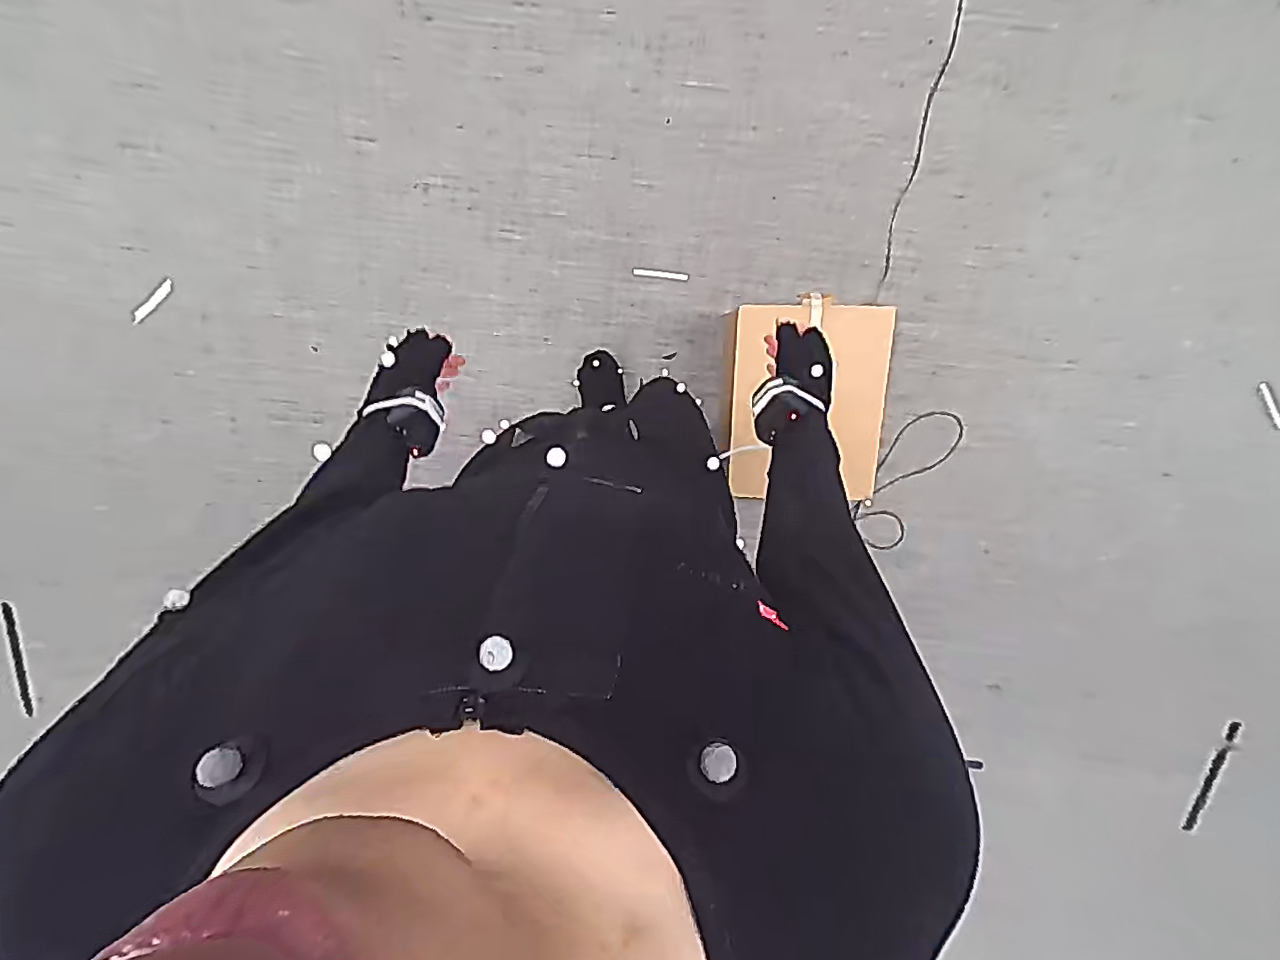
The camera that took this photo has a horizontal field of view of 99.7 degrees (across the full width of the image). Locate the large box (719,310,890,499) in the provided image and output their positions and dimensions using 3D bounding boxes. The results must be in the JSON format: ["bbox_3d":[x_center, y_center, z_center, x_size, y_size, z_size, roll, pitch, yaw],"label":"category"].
[{"bbox_3d":[0.362,-0.192,1.293,0.320,0.320,0.408,2,105,3],"label":"large box"}]
